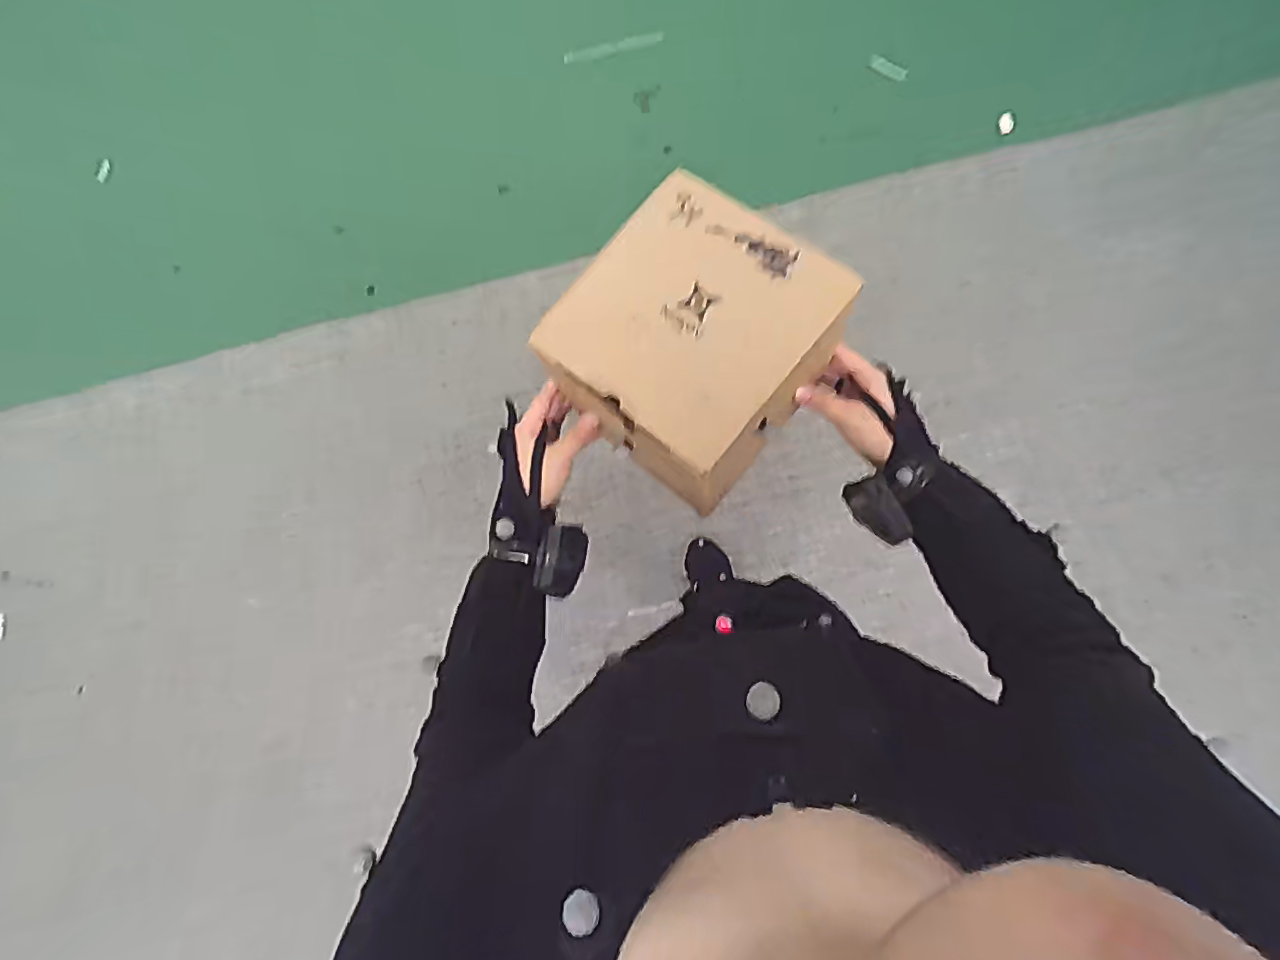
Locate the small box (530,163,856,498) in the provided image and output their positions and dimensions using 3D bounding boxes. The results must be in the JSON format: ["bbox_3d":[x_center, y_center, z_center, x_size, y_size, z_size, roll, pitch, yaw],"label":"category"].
[{"bbox_3d":[0.046,-0.106,0.455,0.168,0.176,0.179,39,86,14],"label":"small box"}]
